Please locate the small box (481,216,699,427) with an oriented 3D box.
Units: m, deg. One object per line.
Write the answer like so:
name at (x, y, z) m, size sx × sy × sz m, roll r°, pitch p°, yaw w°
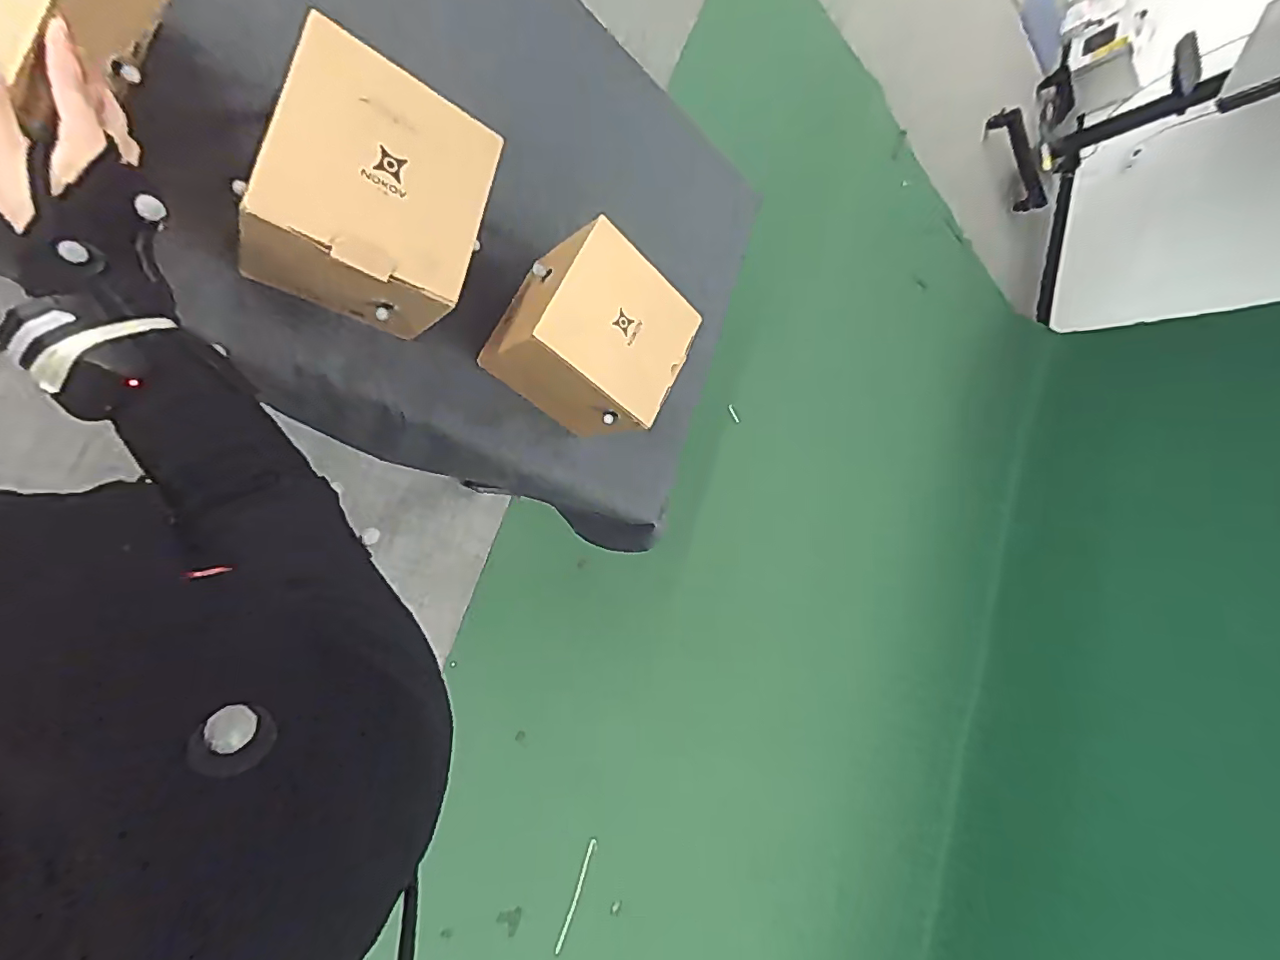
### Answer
small box at (-0.066, -0.176, 0.668) m, size 0.179 × 0.176 × 0.168 m, roll 36°, pitch 70°, yaw -33°
